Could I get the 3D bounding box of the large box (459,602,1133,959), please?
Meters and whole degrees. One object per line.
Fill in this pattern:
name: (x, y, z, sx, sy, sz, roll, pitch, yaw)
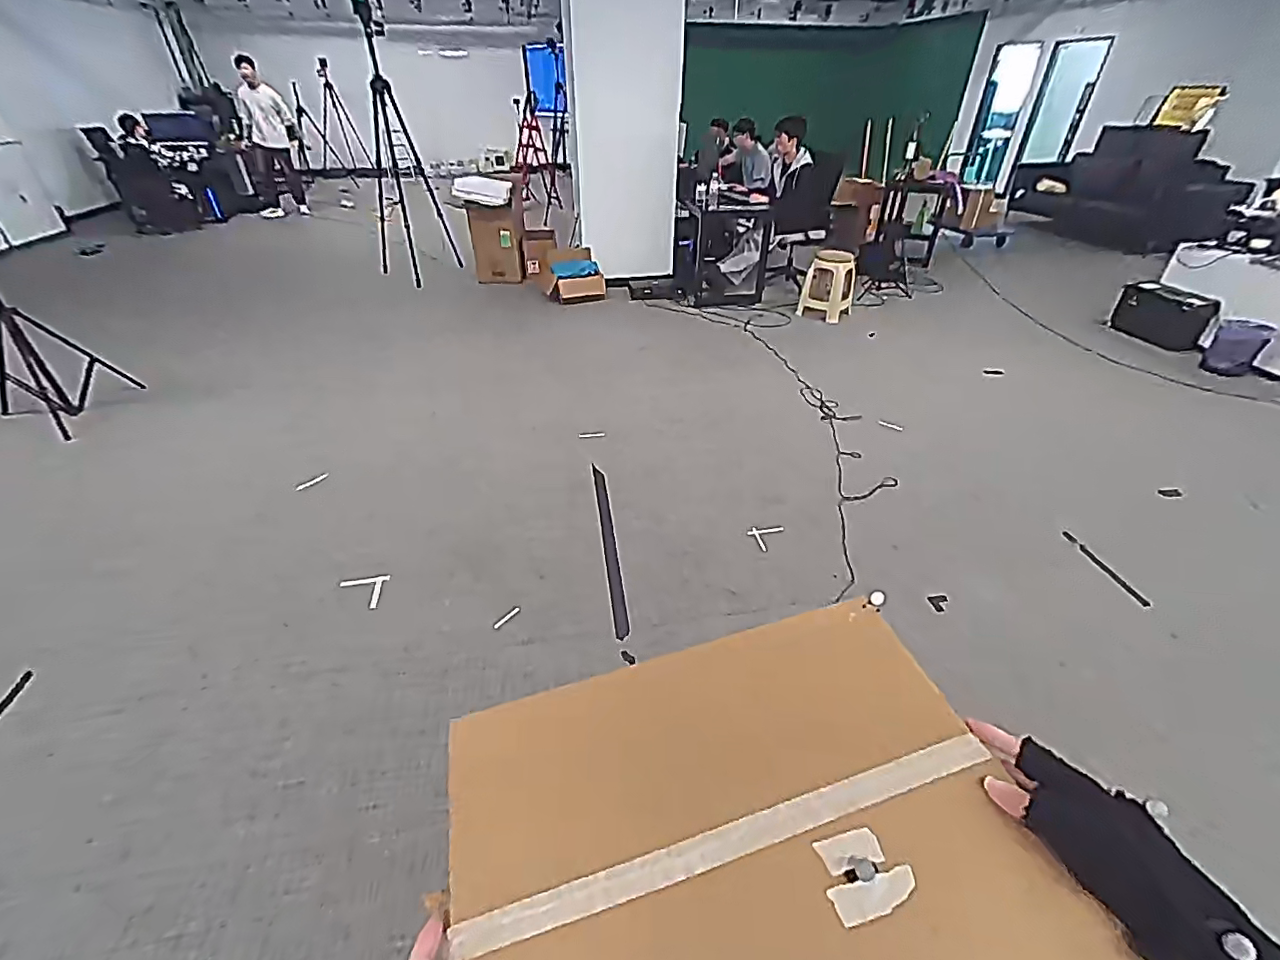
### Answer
large box: (0.082, 0.375, 0.493, 0.408, 0.320, 0.320, -13, 41, -11)
